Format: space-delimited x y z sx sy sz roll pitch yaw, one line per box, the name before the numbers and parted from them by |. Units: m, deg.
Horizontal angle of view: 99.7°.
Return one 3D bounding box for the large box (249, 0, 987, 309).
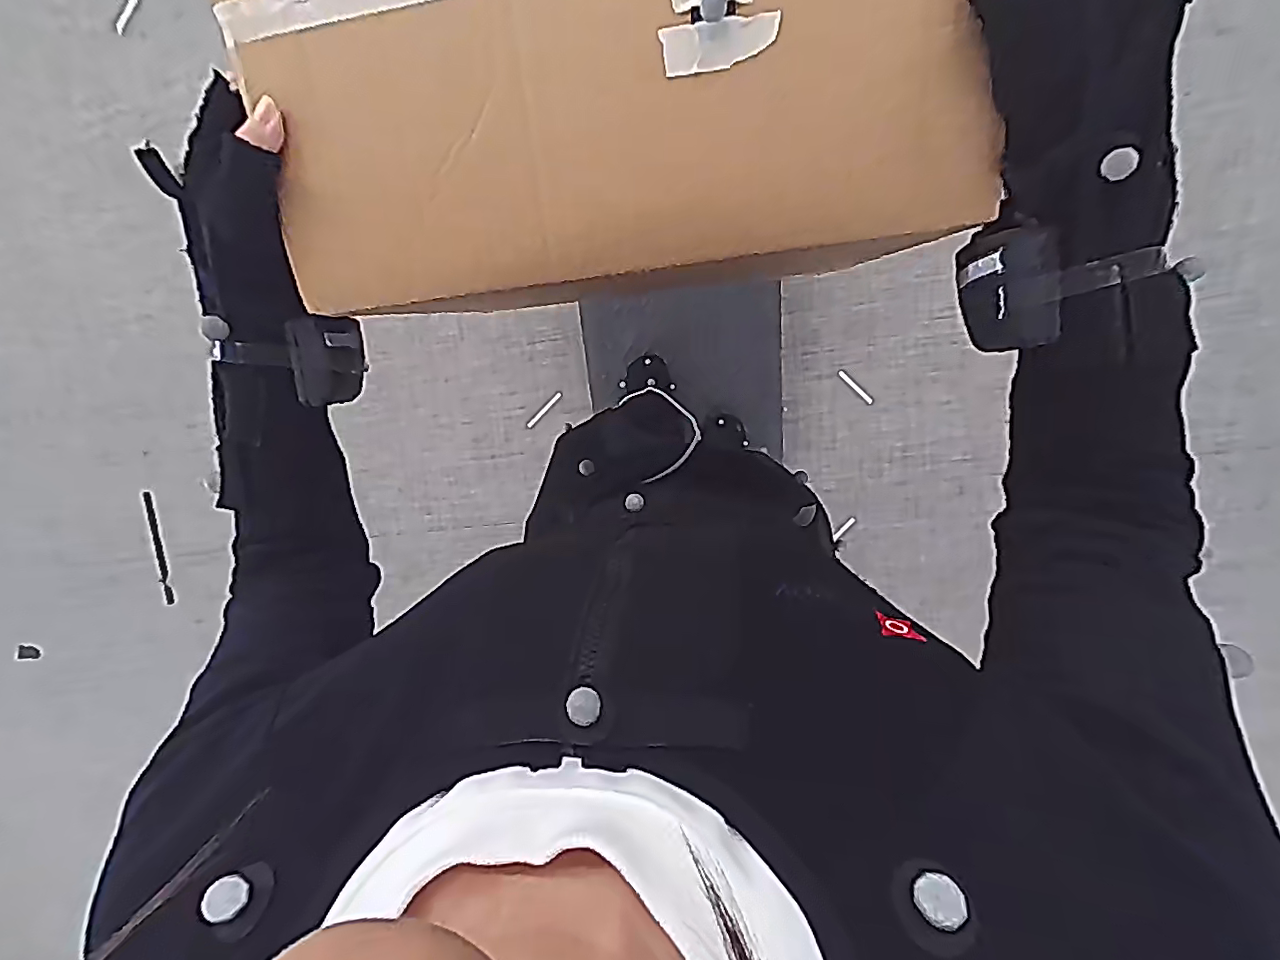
large box | -0.012 -0.322 0.424 0.408 0.320 0.320 -5 108 9
